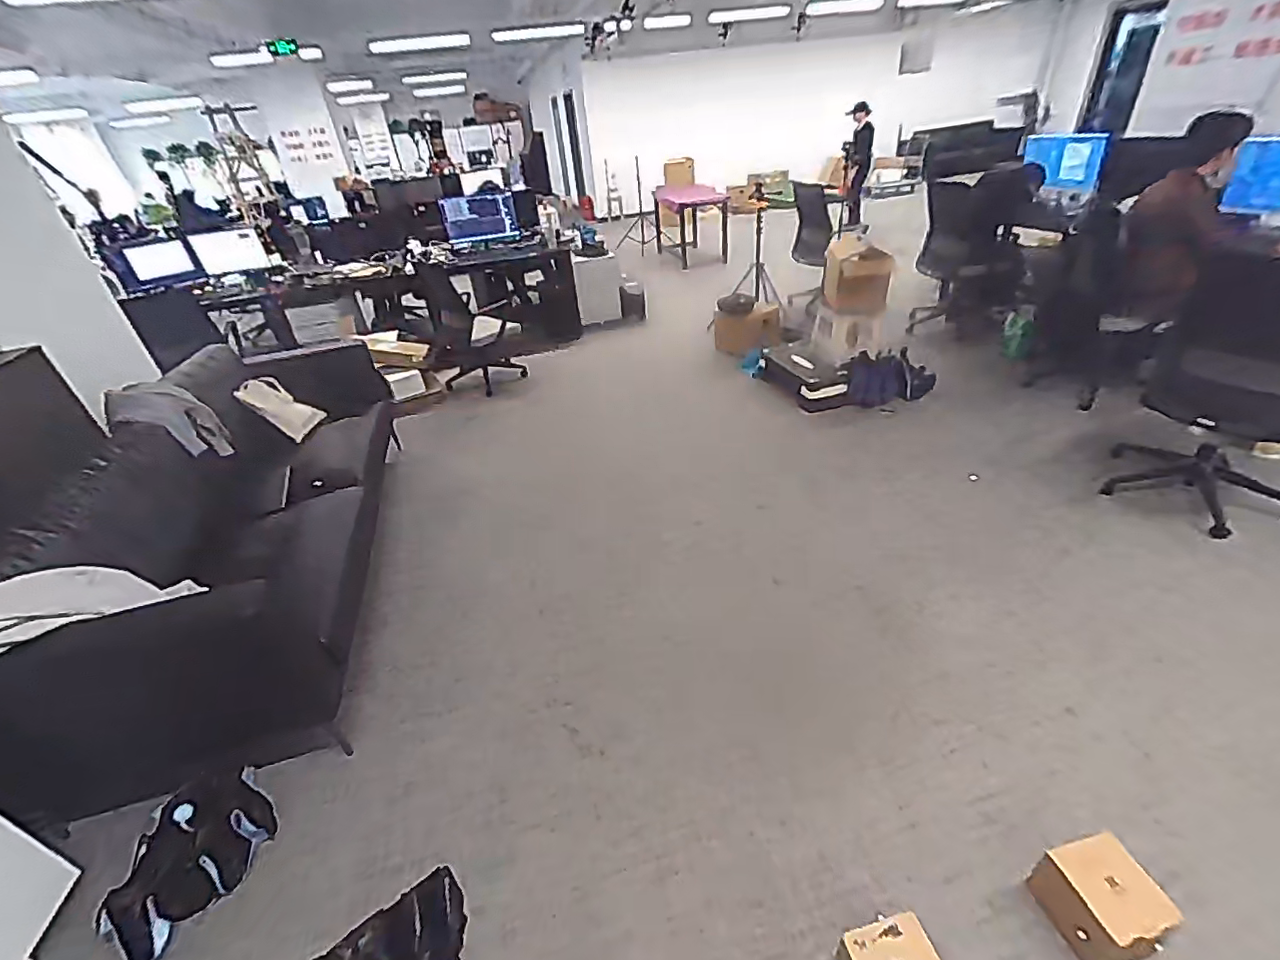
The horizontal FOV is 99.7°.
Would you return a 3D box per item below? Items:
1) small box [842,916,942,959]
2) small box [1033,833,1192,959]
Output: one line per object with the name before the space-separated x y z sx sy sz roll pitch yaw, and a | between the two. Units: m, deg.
small box | 0.531 1.039 1.097 0.168 0.176 0.179 -13 34 -7
small box | 1.011 0.920 1.175 0.168 0.176 0.179 -12 32 -8
